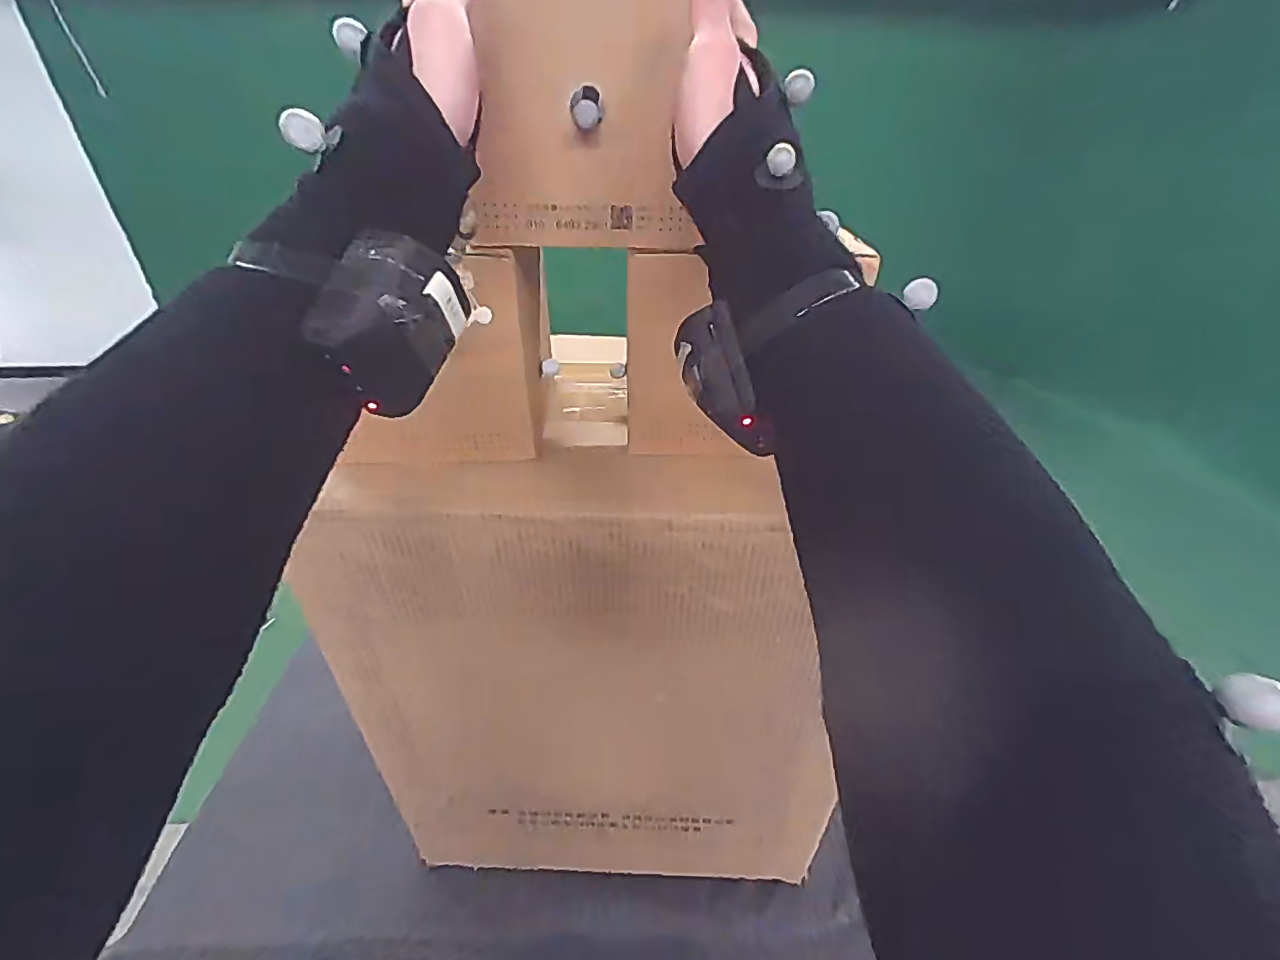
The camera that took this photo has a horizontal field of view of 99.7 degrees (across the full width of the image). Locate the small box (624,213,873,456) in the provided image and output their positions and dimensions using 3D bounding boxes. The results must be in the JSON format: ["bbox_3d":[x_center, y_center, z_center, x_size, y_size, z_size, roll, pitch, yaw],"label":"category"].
[{"bbox_3d":[0.078,-0.132,0.485,0.179,0.176,0.168,0,35,1],"label":"small box"}]

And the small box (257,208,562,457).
[{"bbox_3d":[-0.174,-0.132,0.478,0.179,0.176,0.168,1,38,2],"label":"small box"}]

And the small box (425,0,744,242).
[{"bbox_3d":[-0.037,-0.284,0.400,0.179,0.176,0.168,-21,40,-27],"label":"small box"}]
